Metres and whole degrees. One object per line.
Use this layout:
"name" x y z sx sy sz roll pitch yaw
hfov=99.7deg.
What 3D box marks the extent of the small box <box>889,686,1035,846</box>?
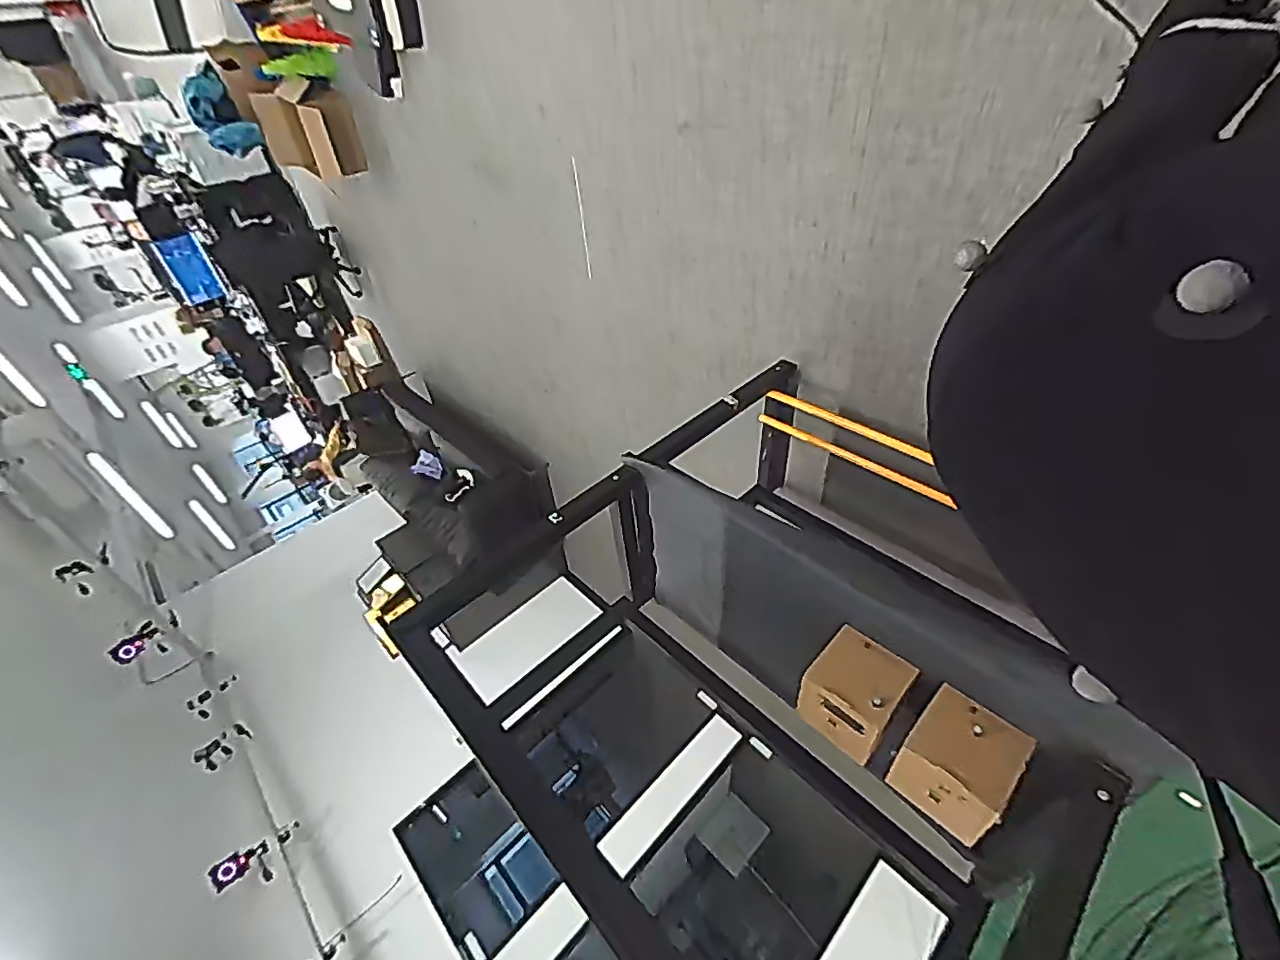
"small box" 0.603 0.532 1.019 0.168 0.176 0.179 31 143 36
